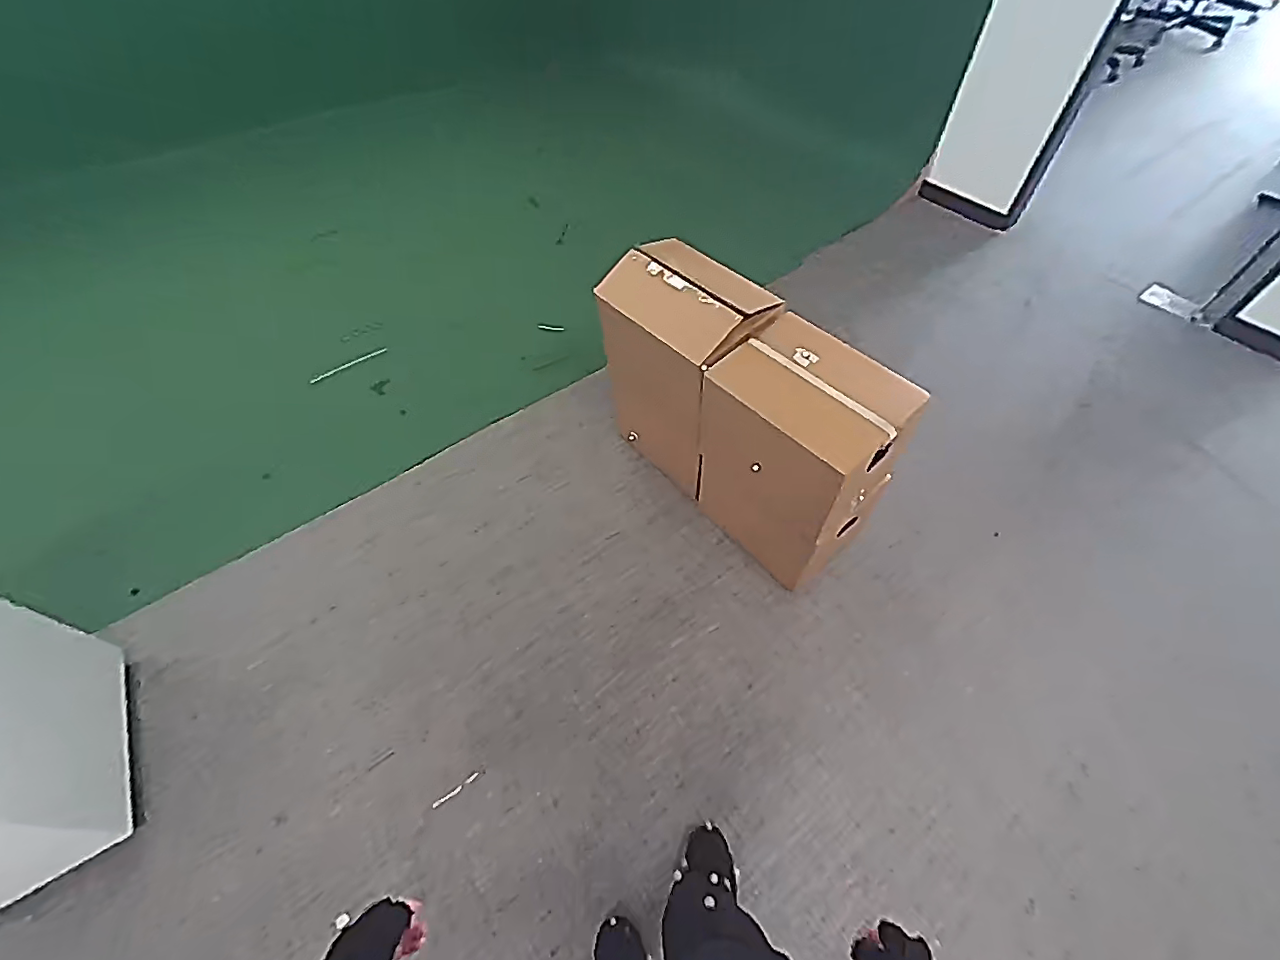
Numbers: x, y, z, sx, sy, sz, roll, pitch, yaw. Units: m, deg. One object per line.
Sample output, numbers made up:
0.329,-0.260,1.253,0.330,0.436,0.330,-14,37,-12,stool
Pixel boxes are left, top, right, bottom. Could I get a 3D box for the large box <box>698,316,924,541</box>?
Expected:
0.391,-0.128,1.340,0.320,0.320,0.408,-37,60,-20,large box
